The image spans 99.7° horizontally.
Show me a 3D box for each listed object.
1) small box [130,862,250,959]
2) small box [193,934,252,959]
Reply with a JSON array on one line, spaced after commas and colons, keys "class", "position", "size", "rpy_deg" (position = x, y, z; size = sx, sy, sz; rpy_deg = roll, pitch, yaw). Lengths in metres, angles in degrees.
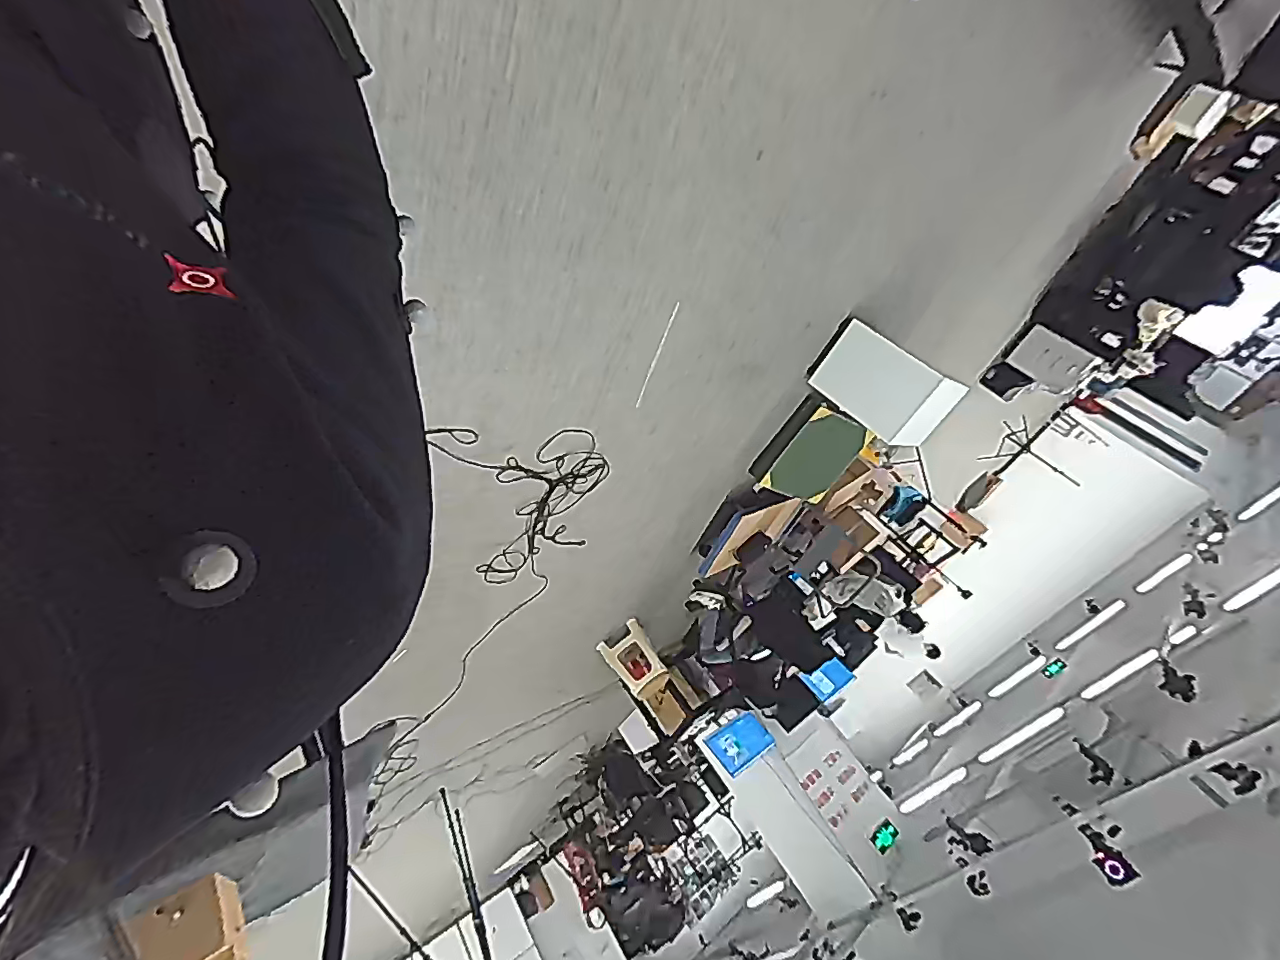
[{"class": "small box", "position": [-1.045, 1.038, 1.262], "size": [0.168, 0.176, 0.179], "rpy_deg": [-21, 145, -33]}, {"class": "small box", "position": [-0.960, 1.157, 1.191], "size": [0.179, 0.176, 0.168], "rpy_deg": [-17, 142, -36]}]
